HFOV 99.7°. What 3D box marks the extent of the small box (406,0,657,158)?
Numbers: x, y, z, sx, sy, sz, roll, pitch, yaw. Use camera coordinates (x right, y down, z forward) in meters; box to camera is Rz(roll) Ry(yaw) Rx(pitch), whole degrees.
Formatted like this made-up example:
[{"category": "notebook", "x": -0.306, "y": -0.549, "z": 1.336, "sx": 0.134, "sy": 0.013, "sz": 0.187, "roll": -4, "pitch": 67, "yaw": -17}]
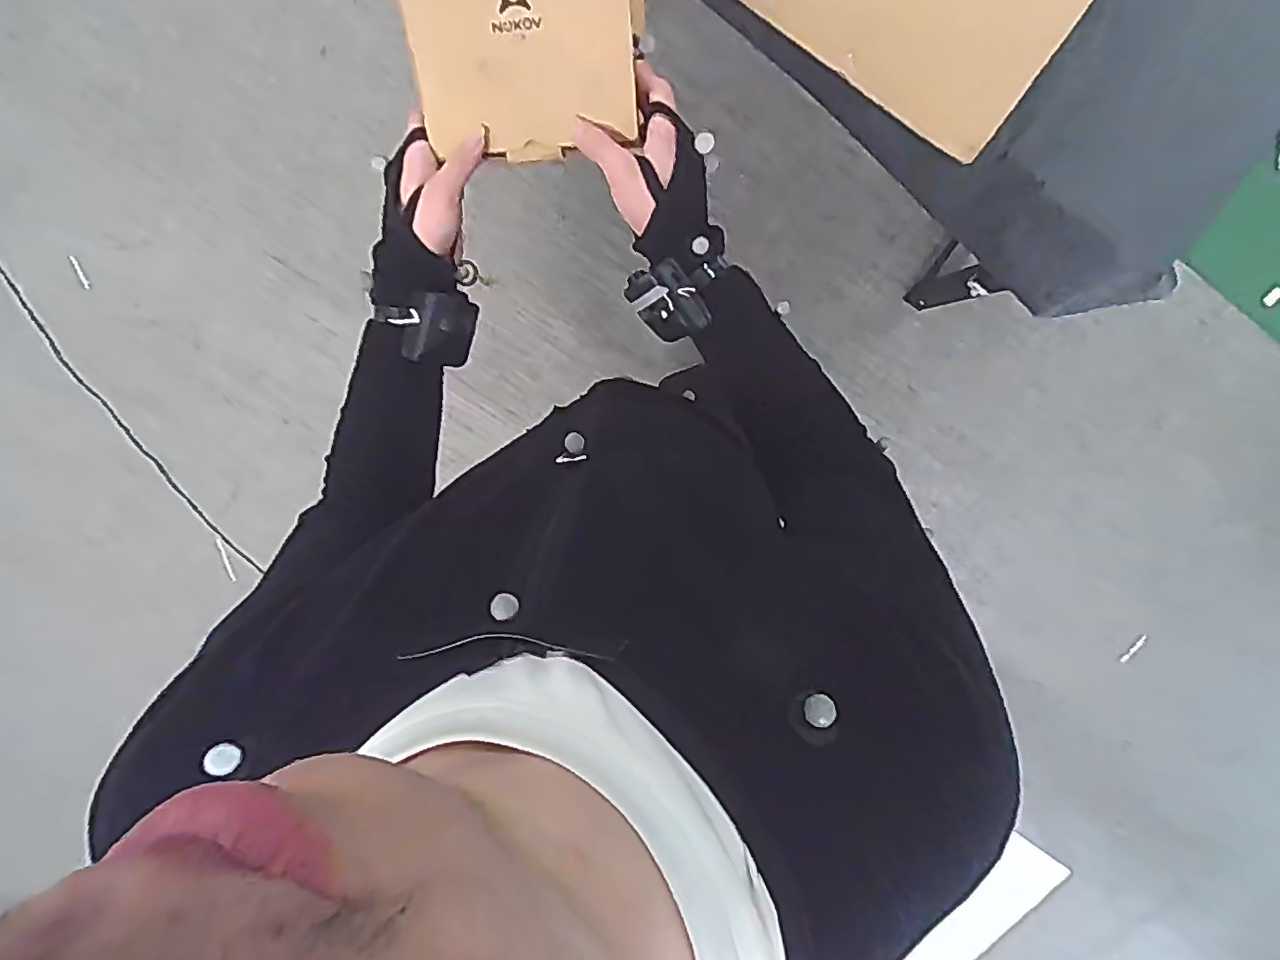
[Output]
[{"category": "small box", "x": -0.078, "y": -0.377, "z": 0.449, "sx": 0.168, "sy": 0.176, "sz": 0.179, "roll": -3, "pitch": 119, "yaw": 7}]
